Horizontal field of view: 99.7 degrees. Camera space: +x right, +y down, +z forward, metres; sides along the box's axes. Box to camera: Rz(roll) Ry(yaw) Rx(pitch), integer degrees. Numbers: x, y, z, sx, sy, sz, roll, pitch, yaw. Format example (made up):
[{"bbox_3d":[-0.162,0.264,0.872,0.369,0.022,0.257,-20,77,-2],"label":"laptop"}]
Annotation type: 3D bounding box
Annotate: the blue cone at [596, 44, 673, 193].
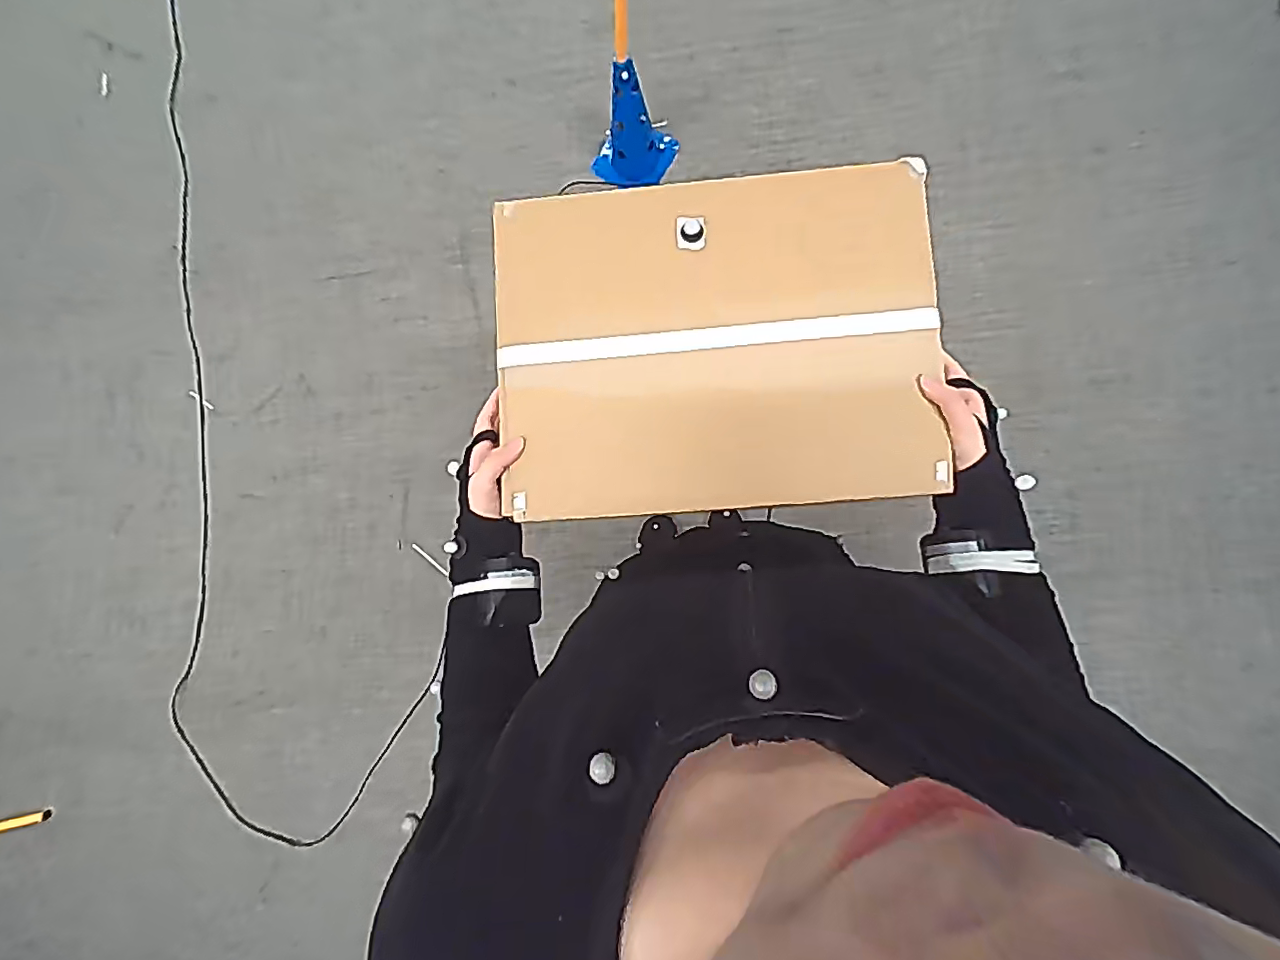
[{"bbox_3d":[-0.028,-0.945,1.387,0.192,0.380,0.193,28,89,4],"label":"blue cone"}]
